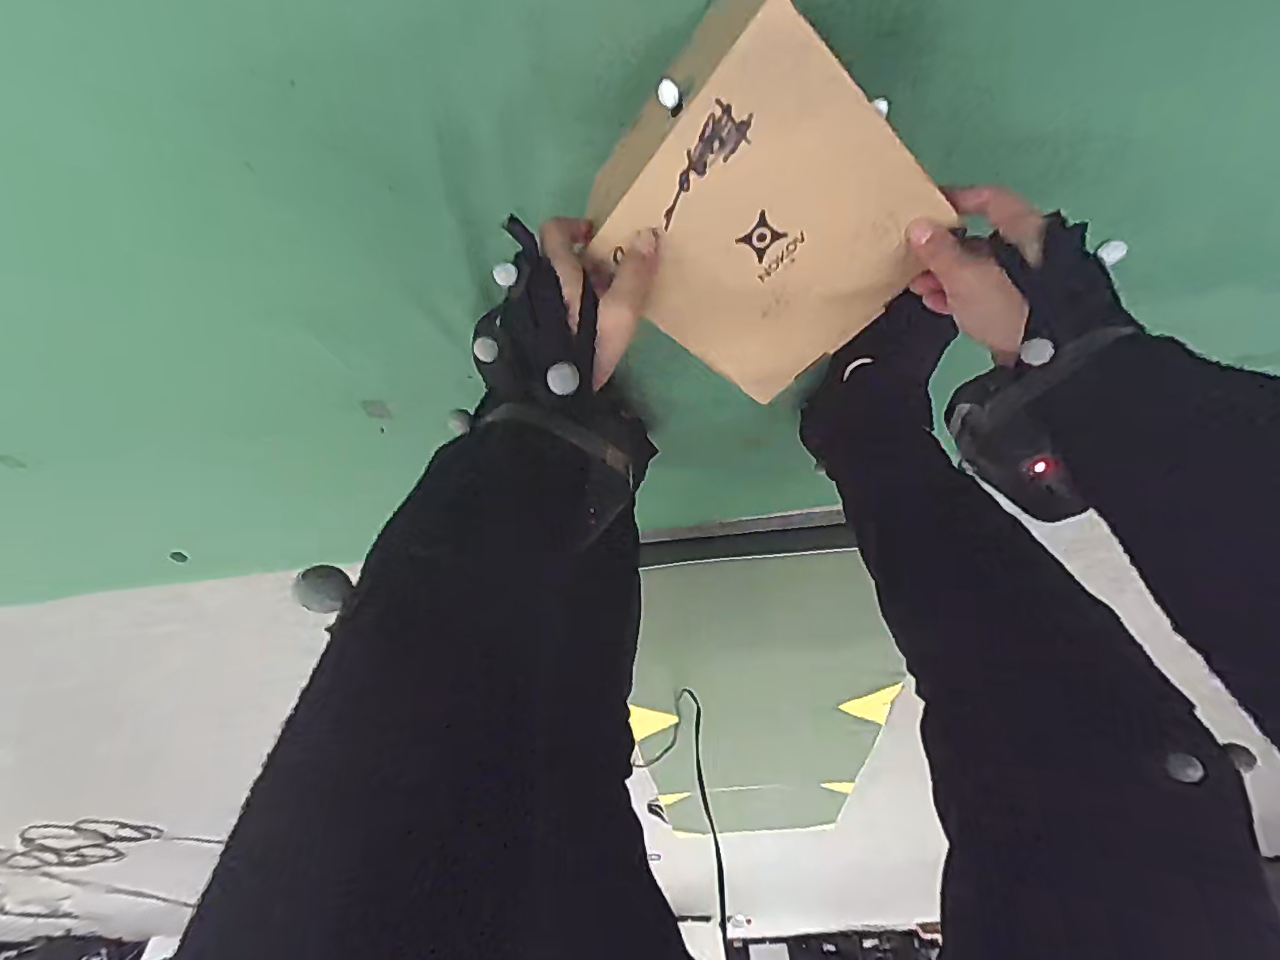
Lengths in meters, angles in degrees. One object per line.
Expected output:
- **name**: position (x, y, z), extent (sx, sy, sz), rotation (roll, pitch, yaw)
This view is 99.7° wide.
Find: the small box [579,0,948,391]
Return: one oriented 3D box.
- **small box**: position (0.077, -0.207, 0.396), extent (0.179, 0.176, 0.168), rotation (30, 127, -26)
